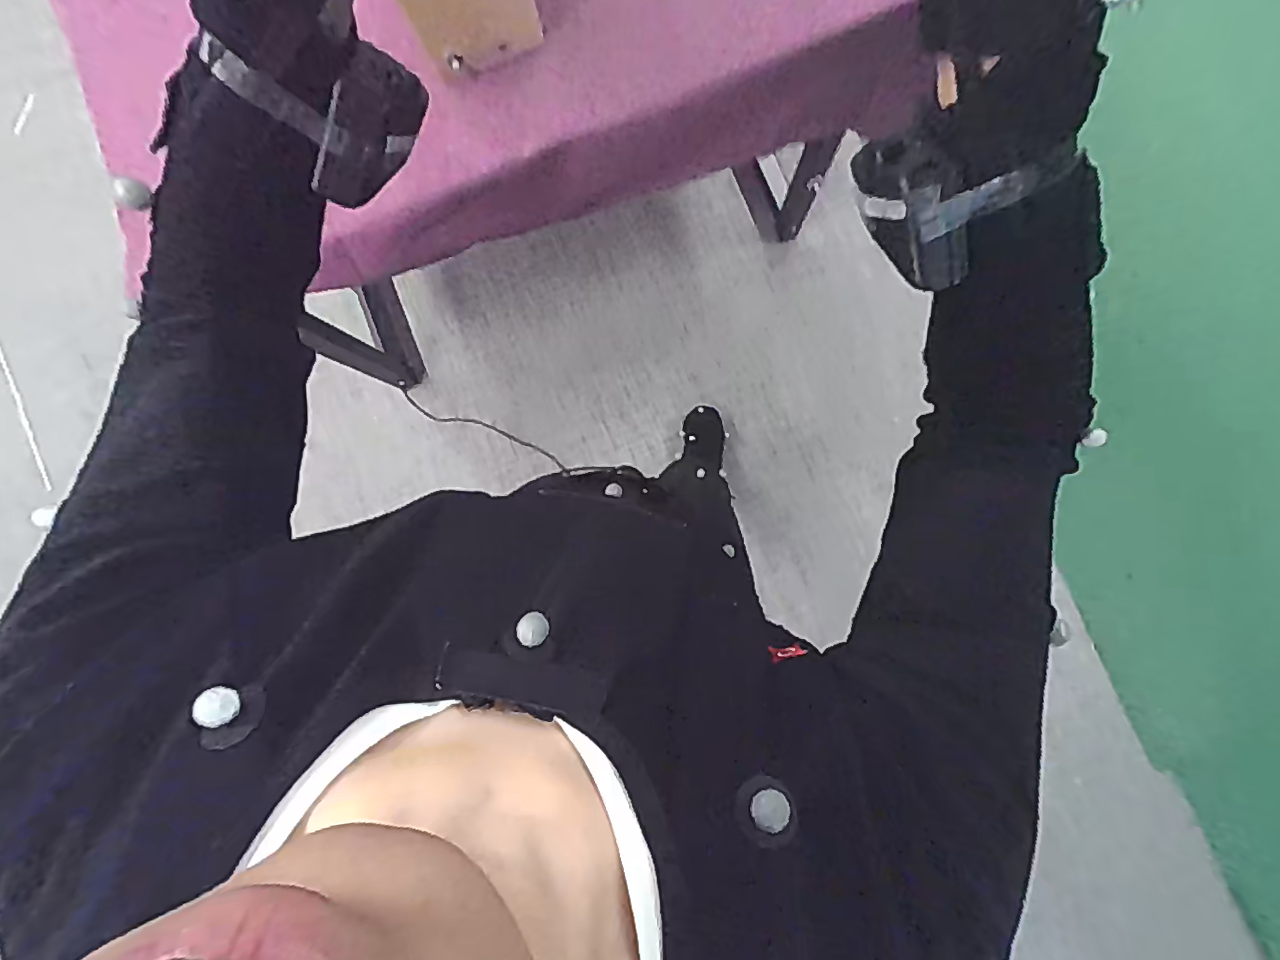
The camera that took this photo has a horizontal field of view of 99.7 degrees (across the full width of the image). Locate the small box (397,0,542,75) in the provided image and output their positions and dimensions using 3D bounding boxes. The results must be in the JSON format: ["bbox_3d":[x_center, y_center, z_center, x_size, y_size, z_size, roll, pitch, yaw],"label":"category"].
[{"bbox_3d":[-0.247,-0.694,0.727,0.168,0.176,0.179,-20,85,1],"label":"small box"}]
